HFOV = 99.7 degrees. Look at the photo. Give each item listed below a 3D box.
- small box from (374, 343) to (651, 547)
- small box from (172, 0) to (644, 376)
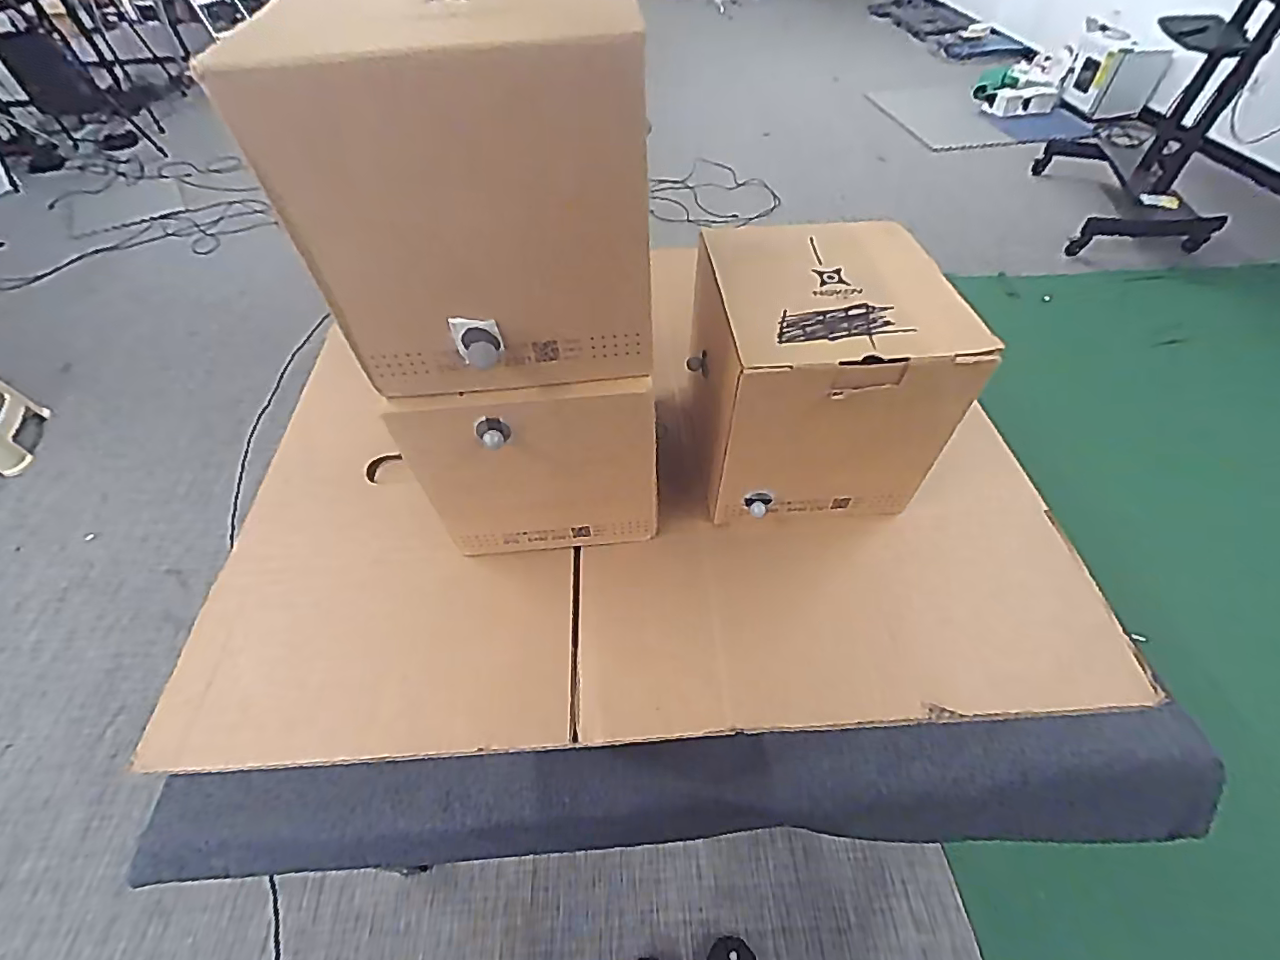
[{"bbox_3d":[-0.080,-0.067,0.438,0.168,0.176,0.179,-5,51,0],"label":"small box"},{"bbox_3d":[-0.089,-0.183,0.304,0.168,0.176,0.179,-7,53,-2],"label":"small box"}]
